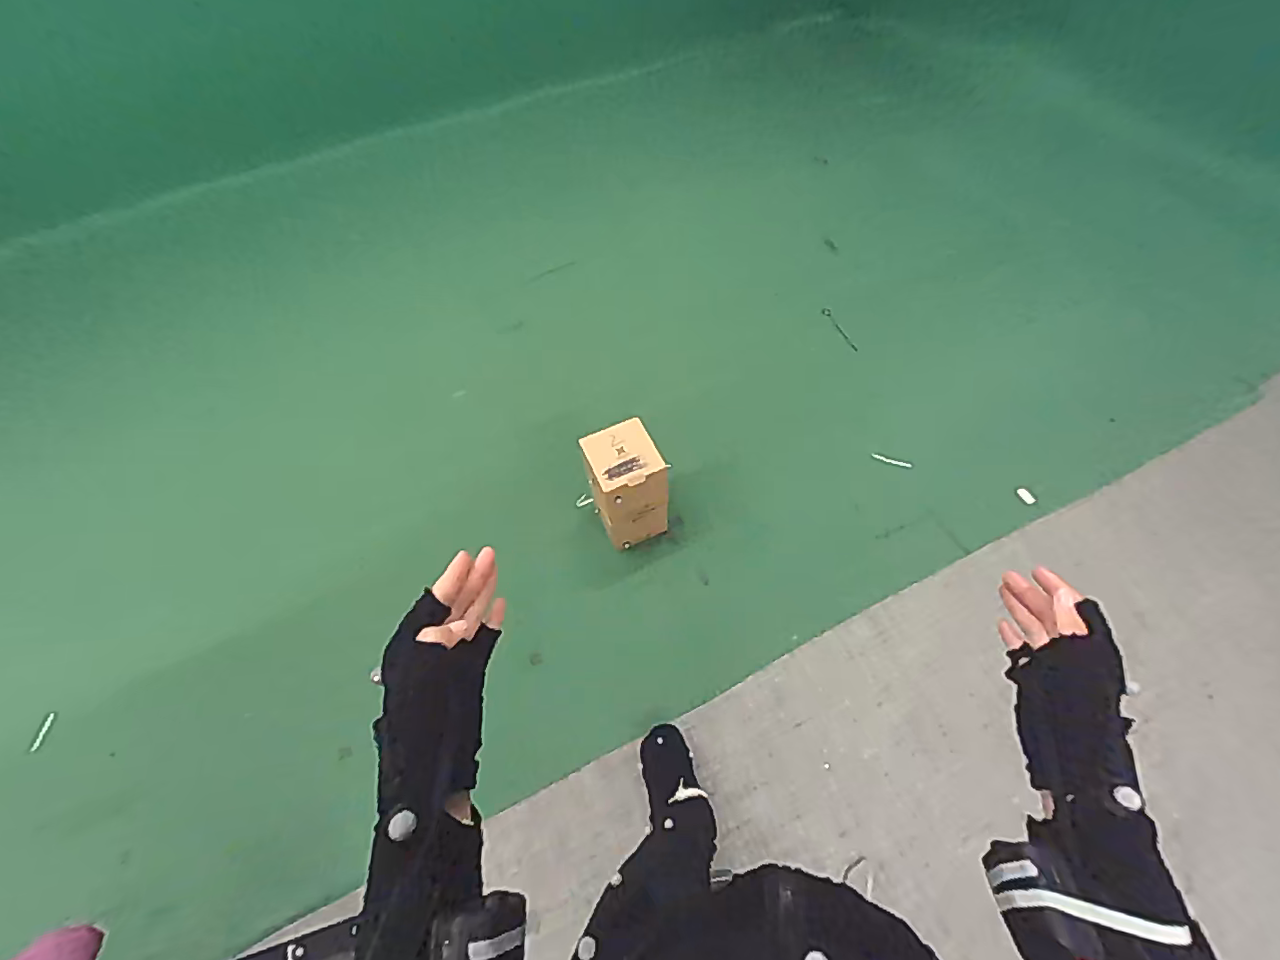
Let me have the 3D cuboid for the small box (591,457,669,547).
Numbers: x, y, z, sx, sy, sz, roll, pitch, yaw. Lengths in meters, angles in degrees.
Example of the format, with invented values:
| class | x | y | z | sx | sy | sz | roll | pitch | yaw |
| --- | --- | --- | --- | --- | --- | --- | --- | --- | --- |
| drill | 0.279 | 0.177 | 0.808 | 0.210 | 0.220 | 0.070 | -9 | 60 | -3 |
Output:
| class | x | y | z | sx | sy | sz | roll | pitch | yaw |
| --- | --- | --- | --- | --- | --- | --- | --- | --- | --- |
| small box | -0.024 | 0.070 | 1.530 | 0.168 | 0.176 | 0.179 | -22 | 60 | -10 |
